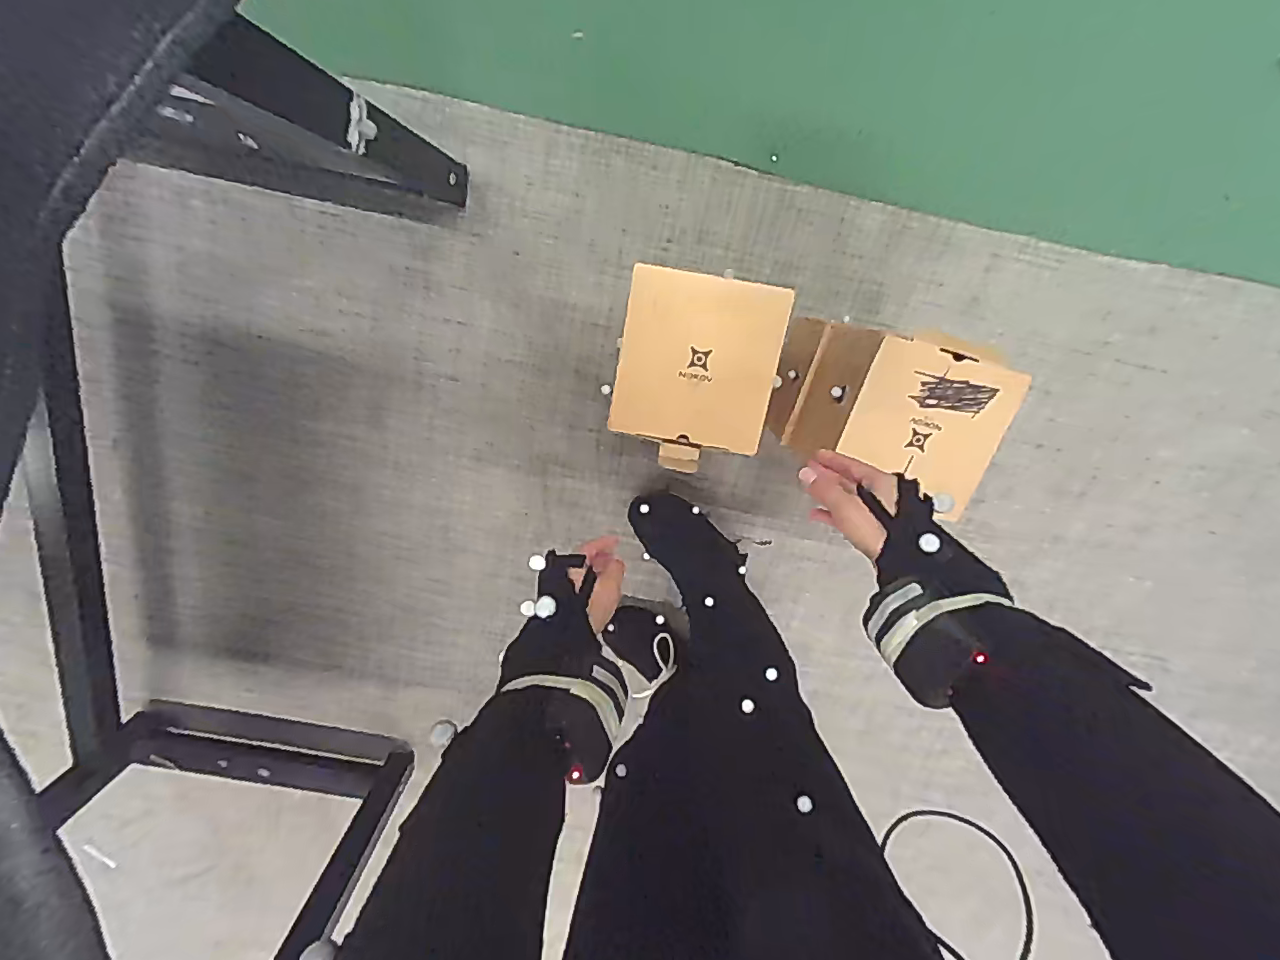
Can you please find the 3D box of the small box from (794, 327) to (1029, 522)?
[{"bbox_3d":[0.305,-0.078,0.655,0.168,0.176,0.179,16,109,-3],"label":"small box"}]

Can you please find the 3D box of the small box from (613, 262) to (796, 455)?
[{"bbox_3d":[0.064,-0.146,0.637,0.168,0.176,0.179,9,108,-2],"label":"small box"}]

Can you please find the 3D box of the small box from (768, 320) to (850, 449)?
[{"bbox_3d":[0.302,-0.133,0.811,0.168,0.176,0.179,15,110,-3],"label":"small box"}]
